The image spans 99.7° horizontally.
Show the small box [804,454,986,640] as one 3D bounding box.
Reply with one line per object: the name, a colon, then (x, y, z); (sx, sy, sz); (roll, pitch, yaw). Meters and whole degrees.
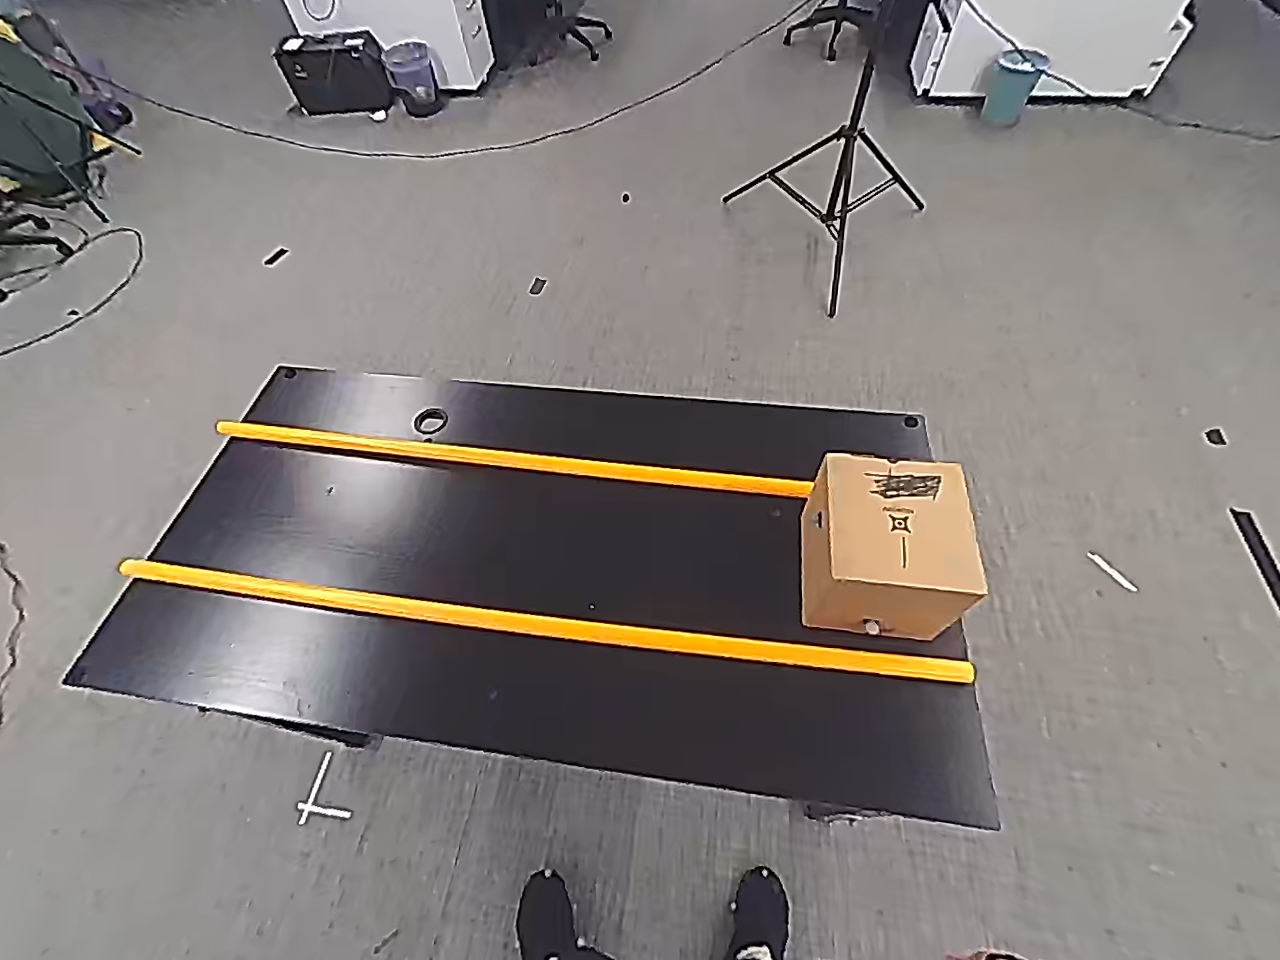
small box: (0.313, 0.091, 0.708); (0.168, 0.176, 0.179); (6, 58, 8)
